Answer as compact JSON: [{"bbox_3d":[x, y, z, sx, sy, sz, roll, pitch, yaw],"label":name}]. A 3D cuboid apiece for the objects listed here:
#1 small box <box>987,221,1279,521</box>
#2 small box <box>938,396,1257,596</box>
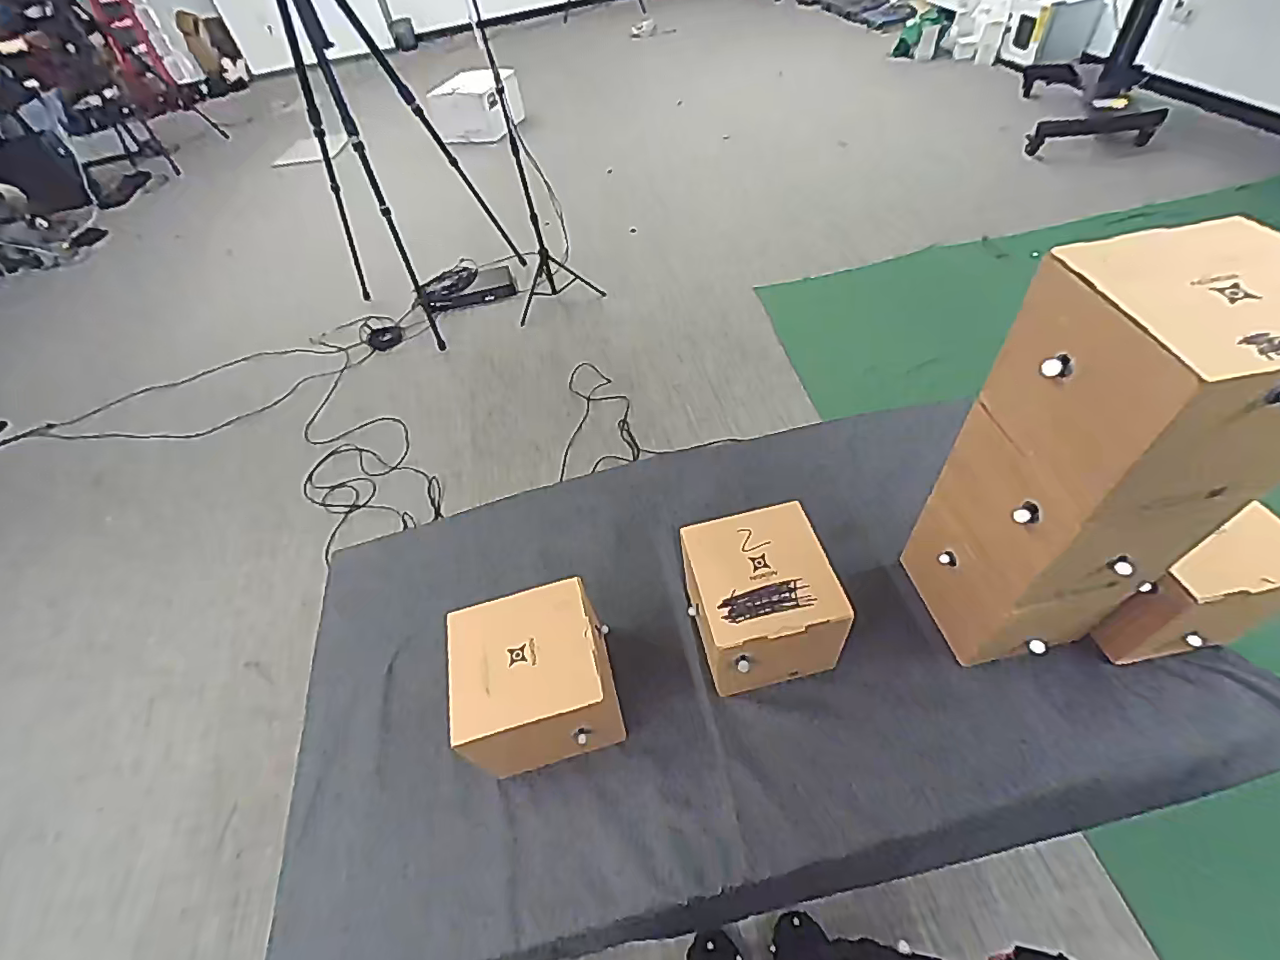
[{"bbox_3d":[0.443,-0.091,0.465,0.168,0.176,0.179,-10,49,2],"label":"small box"},{"bbox_3d":[0.465,0.011,0.591,0.168,0.176,0.179,-11,50,0],"label":"small box"}]
